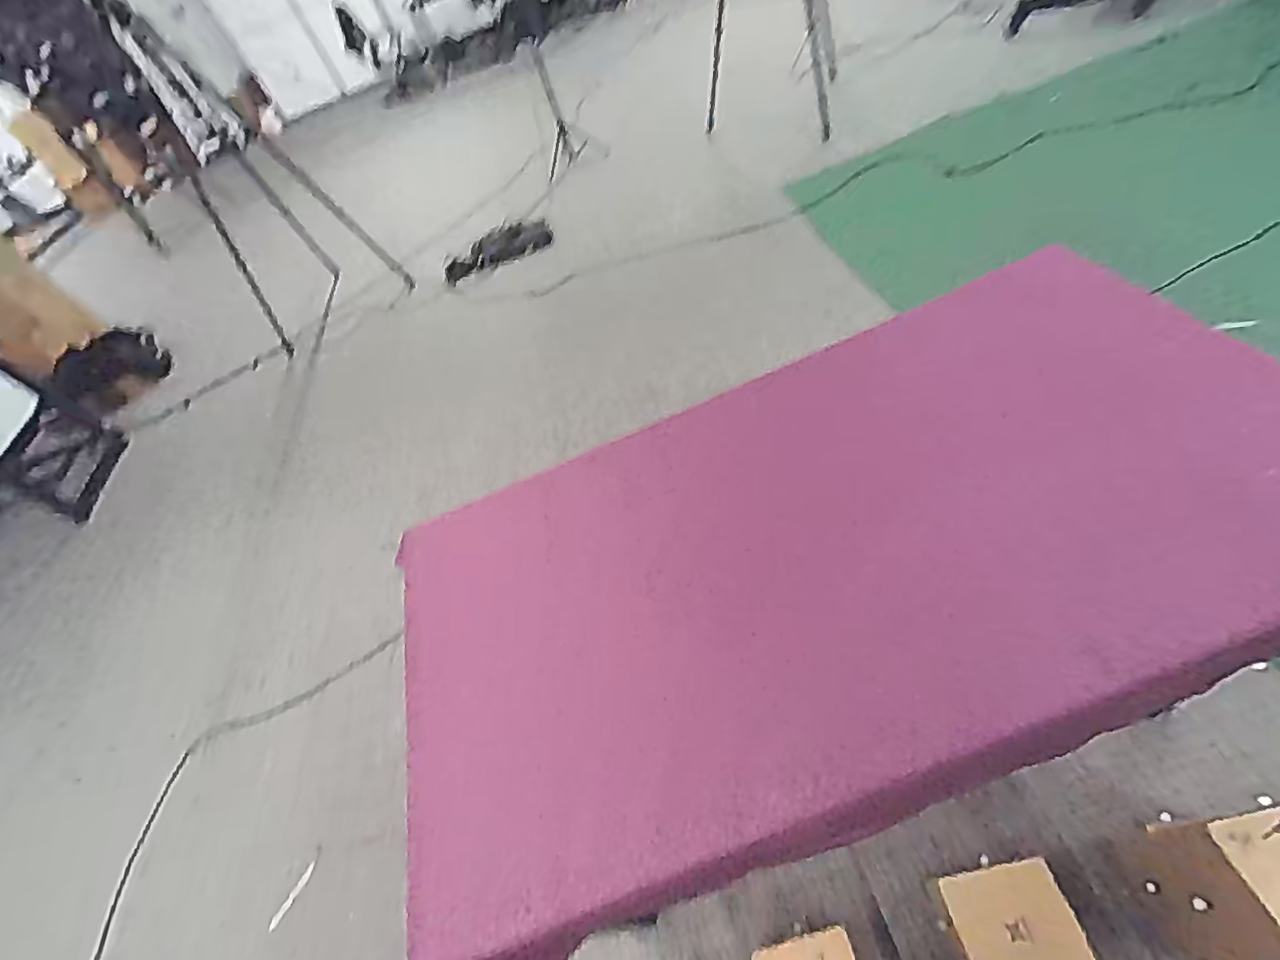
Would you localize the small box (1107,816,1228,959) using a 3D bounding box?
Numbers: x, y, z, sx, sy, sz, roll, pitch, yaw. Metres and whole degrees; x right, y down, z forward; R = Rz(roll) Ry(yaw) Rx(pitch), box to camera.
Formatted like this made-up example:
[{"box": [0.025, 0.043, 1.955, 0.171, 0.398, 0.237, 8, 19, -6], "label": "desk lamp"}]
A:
[{"box": [0.911, 0.655, 0.865, 0.168, 0.176, 0.179, -15, 48, 9], "label": "small box"}]

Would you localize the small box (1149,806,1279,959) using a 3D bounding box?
[{"box": [0.871, 0.560, 0.736, 0.168, 0.176, 0.179, -17, 50, 6], "label": "small box"}]
